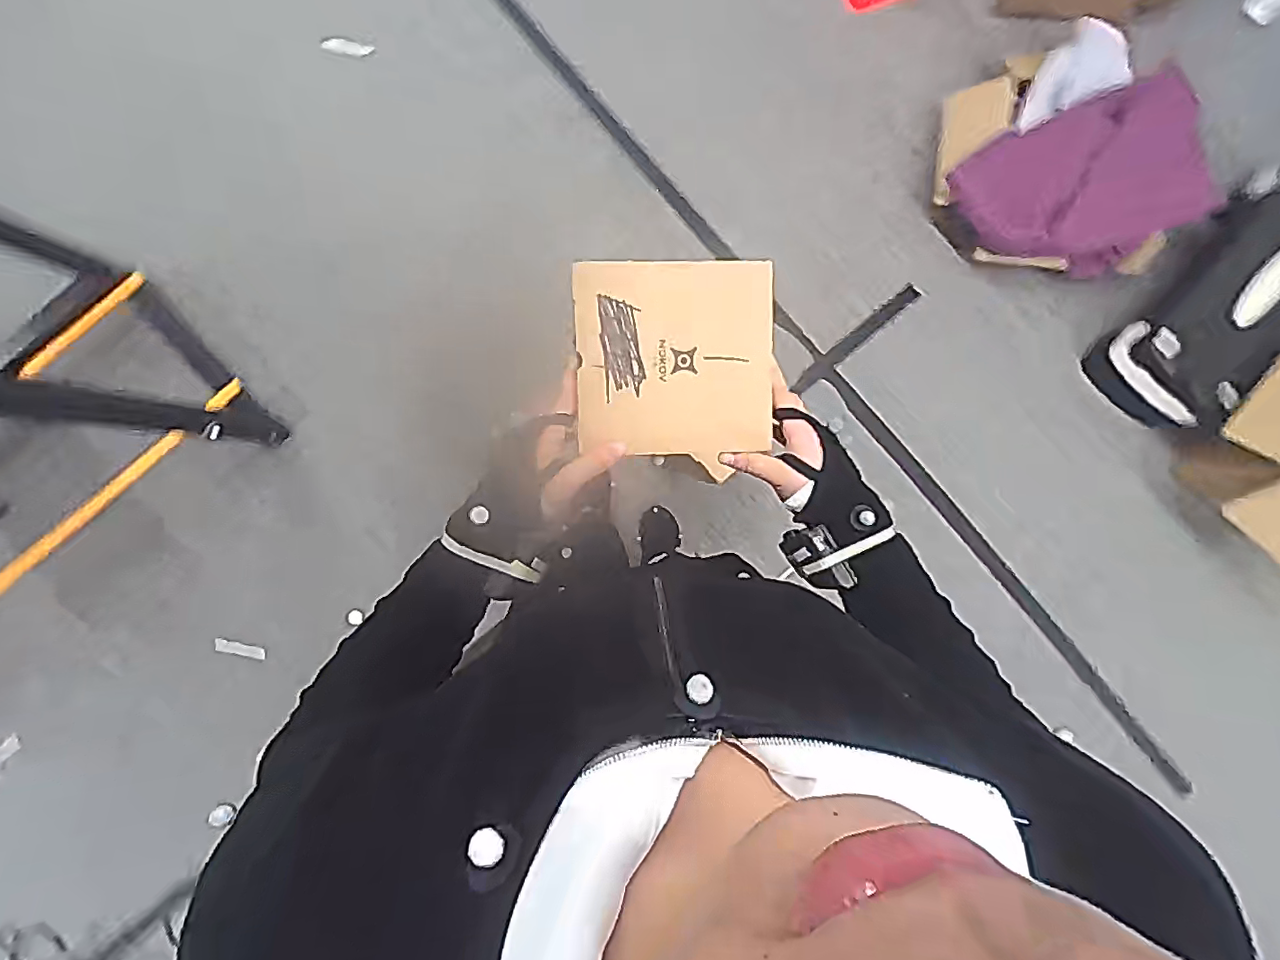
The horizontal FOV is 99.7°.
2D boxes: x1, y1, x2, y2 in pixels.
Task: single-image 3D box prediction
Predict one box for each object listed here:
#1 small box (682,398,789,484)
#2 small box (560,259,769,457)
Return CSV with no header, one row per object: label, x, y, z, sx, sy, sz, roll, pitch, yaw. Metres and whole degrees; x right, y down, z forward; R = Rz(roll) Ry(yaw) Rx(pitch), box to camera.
small box,0.162,-0.109,1.088,0.179,0.176,0.168,-42,90,0
small box,0.020,-0.110,0.543,0.179,0.176,0.168,-4,96,-3
